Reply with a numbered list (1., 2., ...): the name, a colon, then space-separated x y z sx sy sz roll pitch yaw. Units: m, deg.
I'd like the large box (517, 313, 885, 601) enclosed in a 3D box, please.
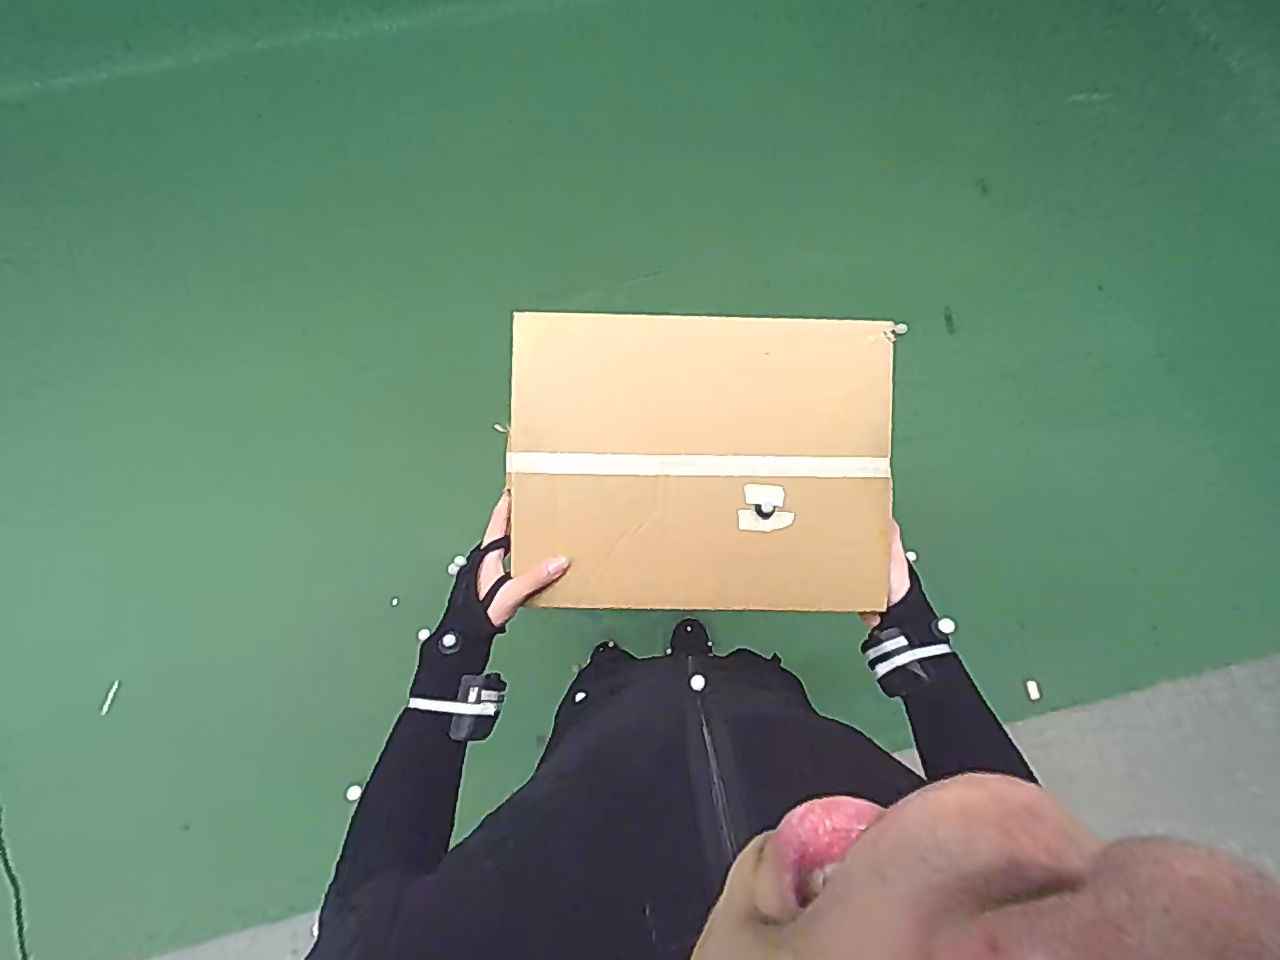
1. large box: 0.061 -0.024 0.731 0.408 0.320 0.320 1 91 -2
